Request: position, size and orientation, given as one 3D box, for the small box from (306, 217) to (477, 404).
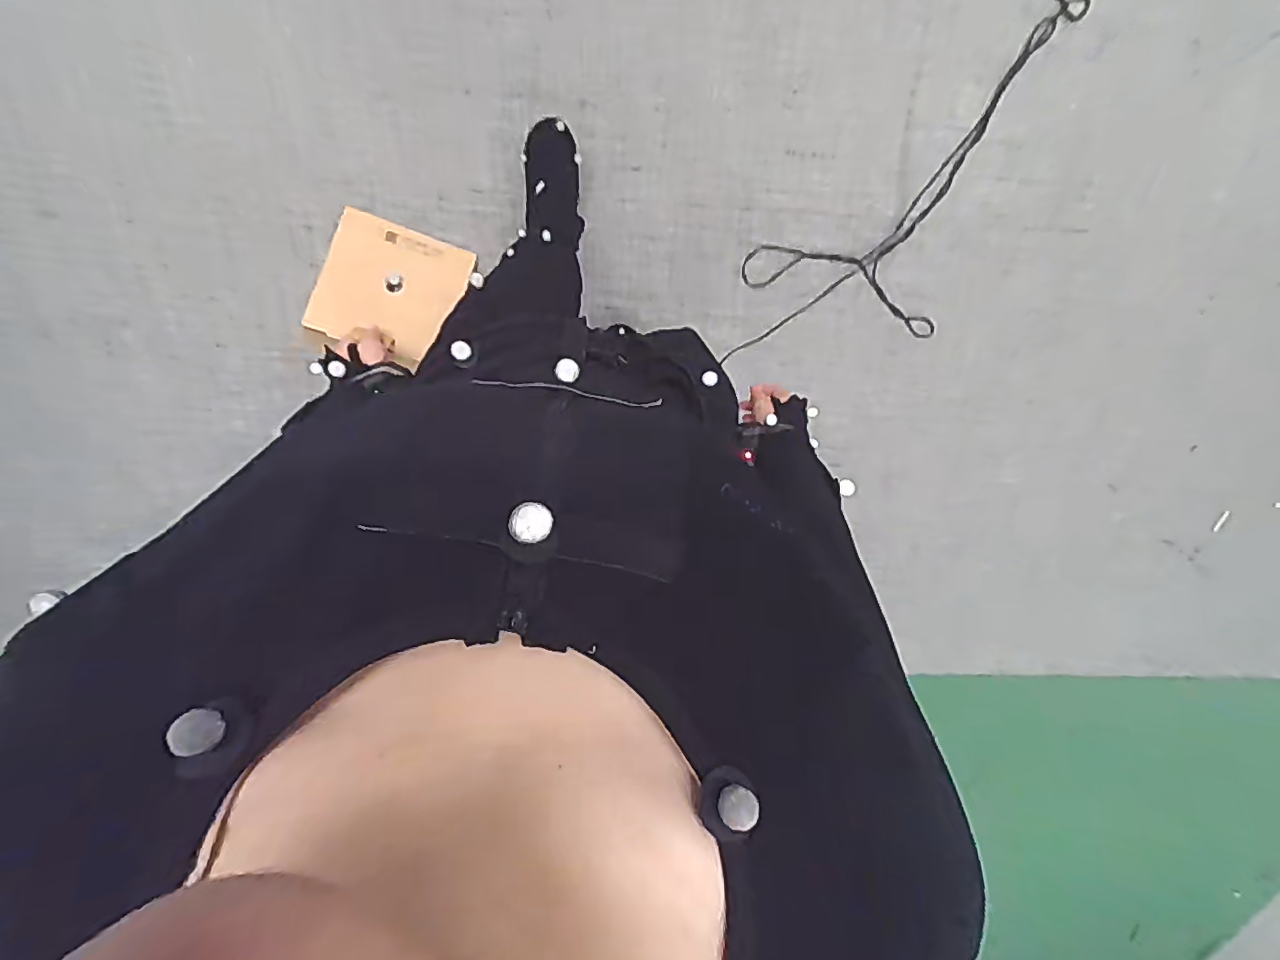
[{"bbox_3d":[-0.334,-0.229,0.760,0.168,0.179,0.176,16,78,-15],"label":"small box"}]
